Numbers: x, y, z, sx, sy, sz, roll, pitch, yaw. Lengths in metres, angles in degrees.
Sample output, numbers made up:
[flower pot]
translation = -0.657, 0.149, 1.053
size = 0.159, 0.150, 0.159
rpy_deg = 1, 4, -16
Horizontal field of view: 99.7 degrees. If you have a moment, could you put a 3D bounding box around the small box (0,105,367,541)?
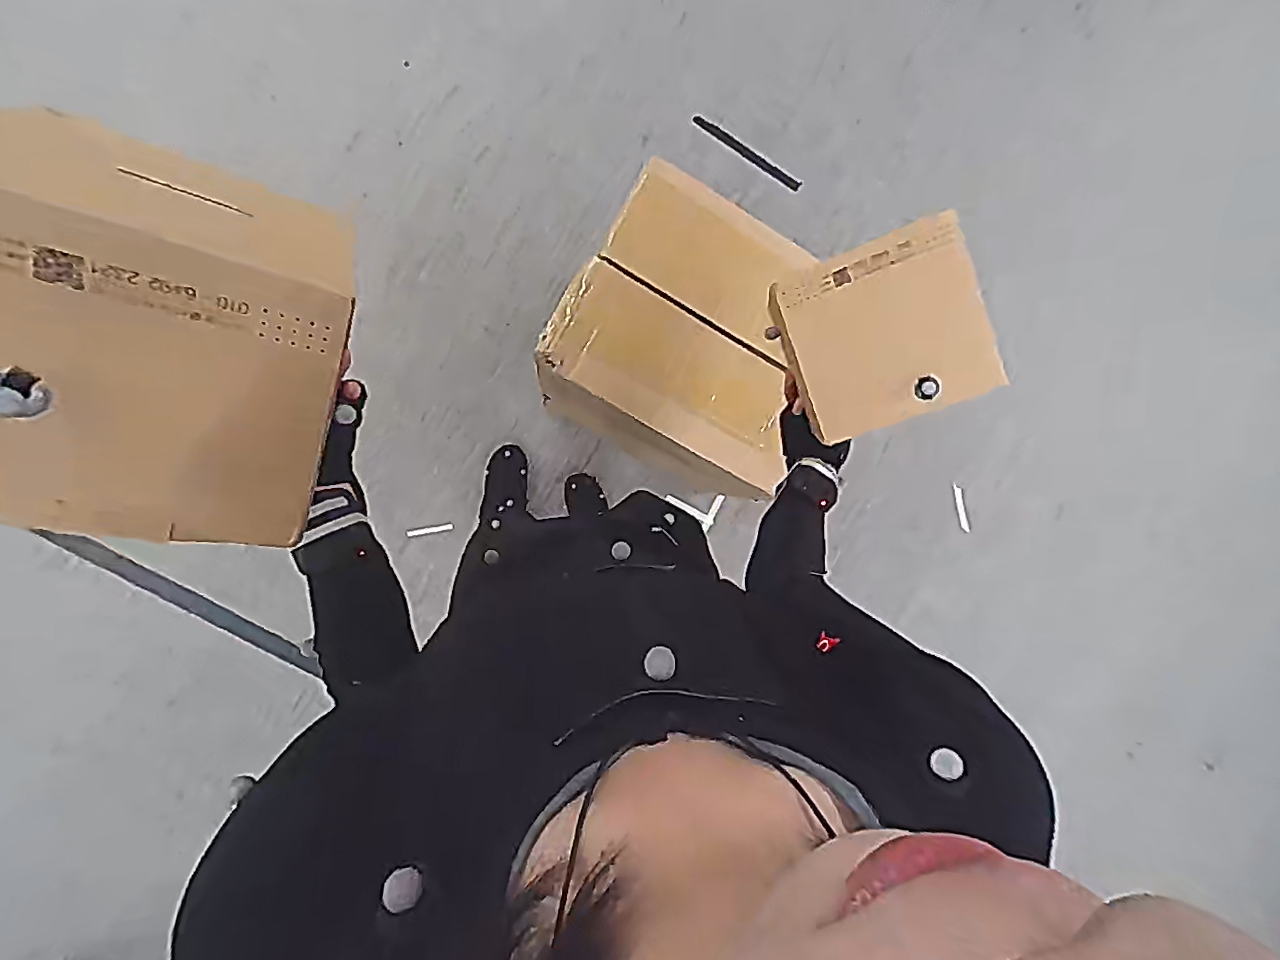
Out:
[small box]
translation = -0.267, -0.089, 0.317
size = 0.168, 0.179, 0.176
rpy_deg = 11, 120, -31
